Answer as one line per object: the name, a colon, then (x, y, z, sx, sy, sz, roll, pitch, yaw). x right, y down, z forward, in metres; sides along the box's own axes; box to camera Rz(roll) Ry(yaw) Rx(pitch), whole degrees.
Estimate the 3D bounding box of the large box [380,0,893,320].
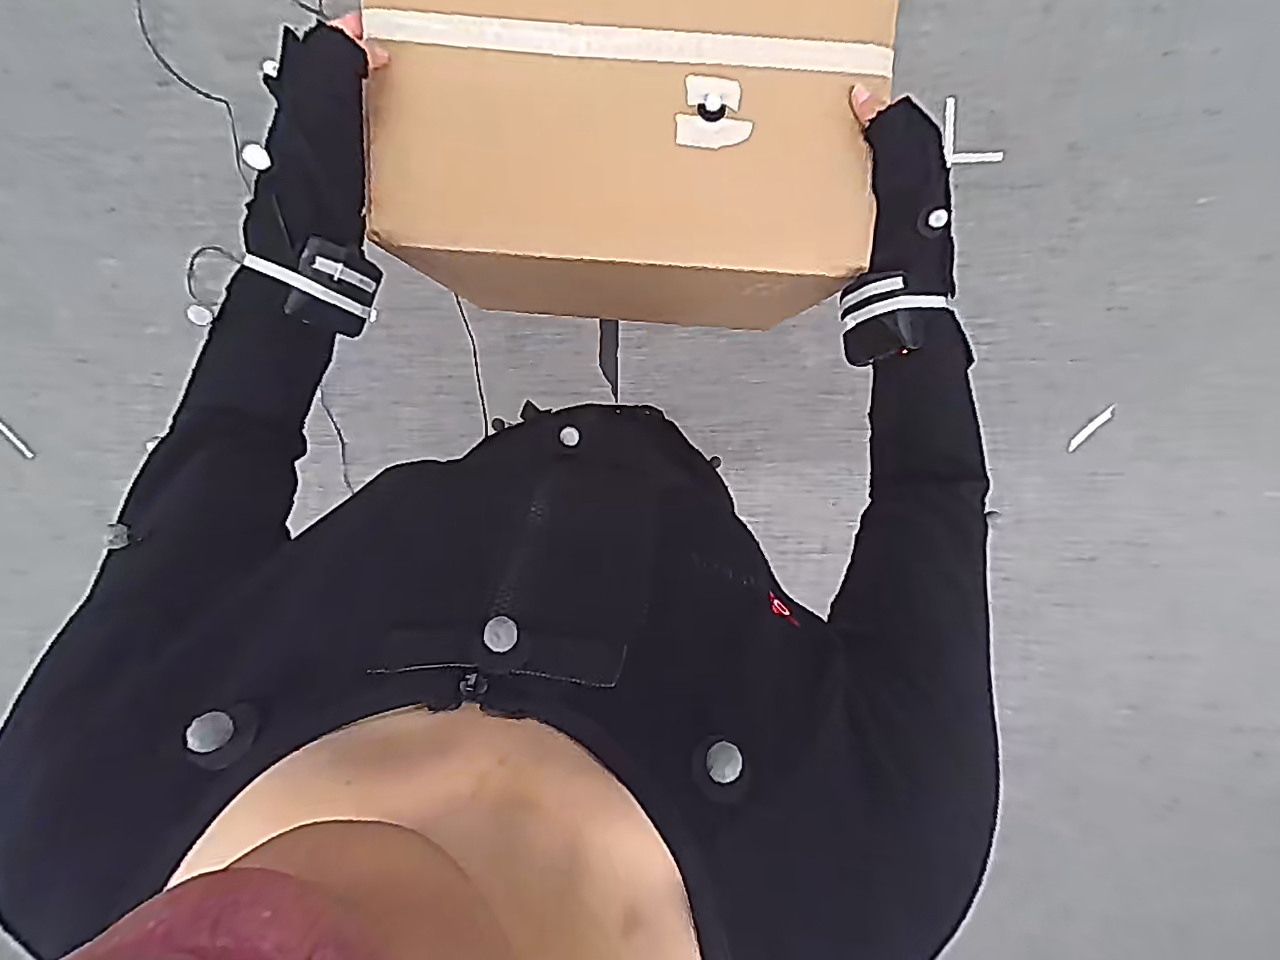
large box: (-0.007, -0.359, 0.571, 0.408, 0.320, 0.320, 4, 98, -1)
